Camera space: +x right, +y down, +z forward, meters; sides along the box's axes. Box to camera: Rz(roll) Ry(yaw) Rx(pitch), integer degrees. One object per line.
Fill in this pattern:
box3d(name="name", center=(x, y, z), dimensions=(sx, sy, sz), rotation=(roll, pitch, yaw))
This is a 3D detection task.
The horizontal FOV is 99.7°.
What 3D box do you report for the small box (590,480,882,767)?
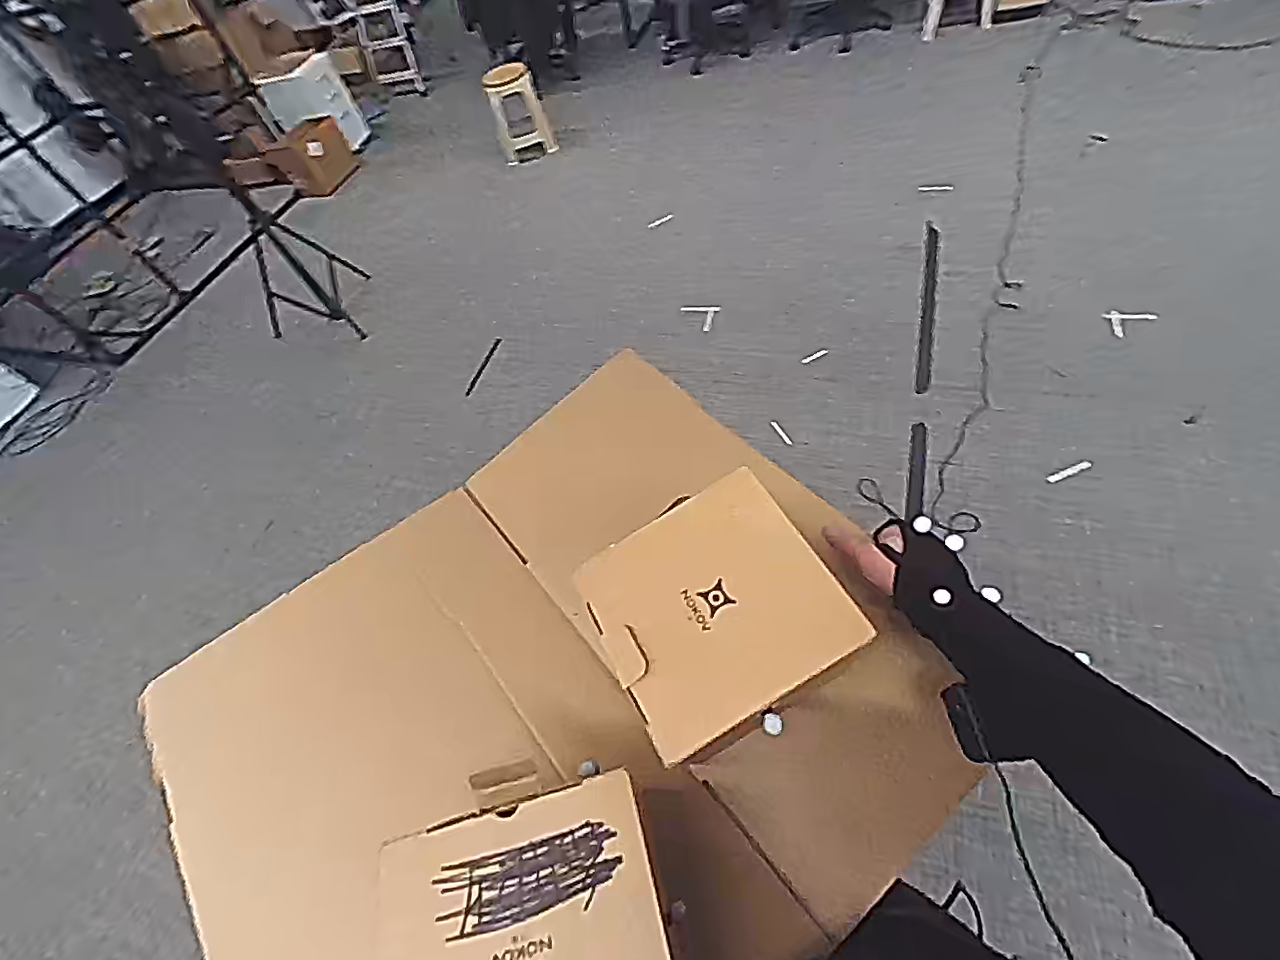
box3d(name="small box", center=(0.083, 0.134, 0.494), dimensions=(0.179, 0.176, 0.168), rotation=(-31, 61, -1))
